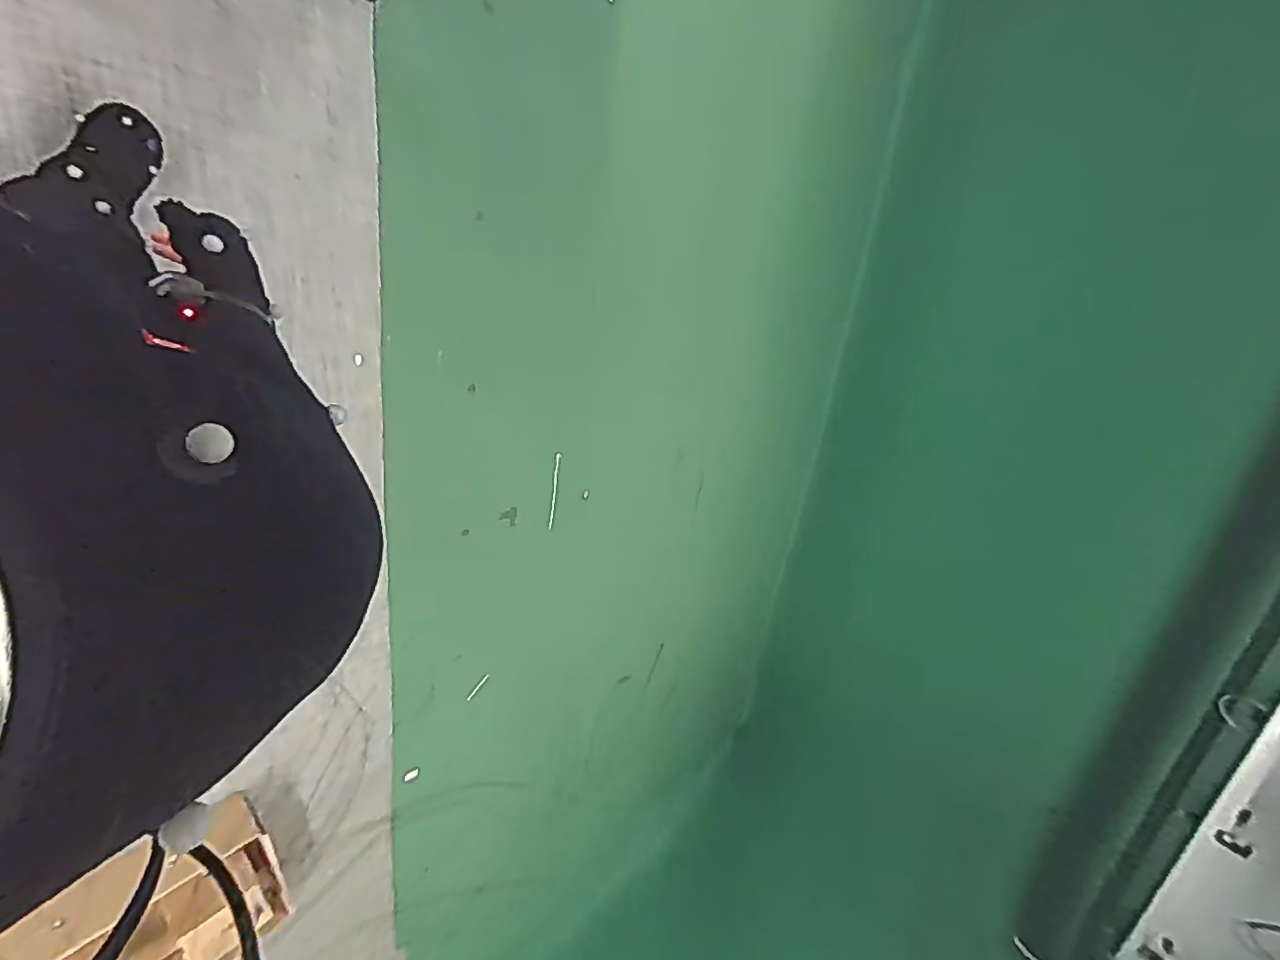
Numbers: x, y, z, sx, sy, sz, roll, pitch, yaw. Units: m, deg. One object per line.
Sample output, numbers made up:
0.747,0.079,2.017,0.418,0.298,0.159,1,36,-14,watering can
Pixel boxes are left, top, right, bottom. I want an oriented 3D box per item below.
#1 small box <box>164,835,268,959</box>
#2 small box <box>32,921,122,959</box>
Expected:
-1.151,1.126,1.464,0.179,0.176,0.168,-24,127,-41,small box
-1.336,1.204,1.267,0.179,0.176,0.168,-21,124,-46,small box
